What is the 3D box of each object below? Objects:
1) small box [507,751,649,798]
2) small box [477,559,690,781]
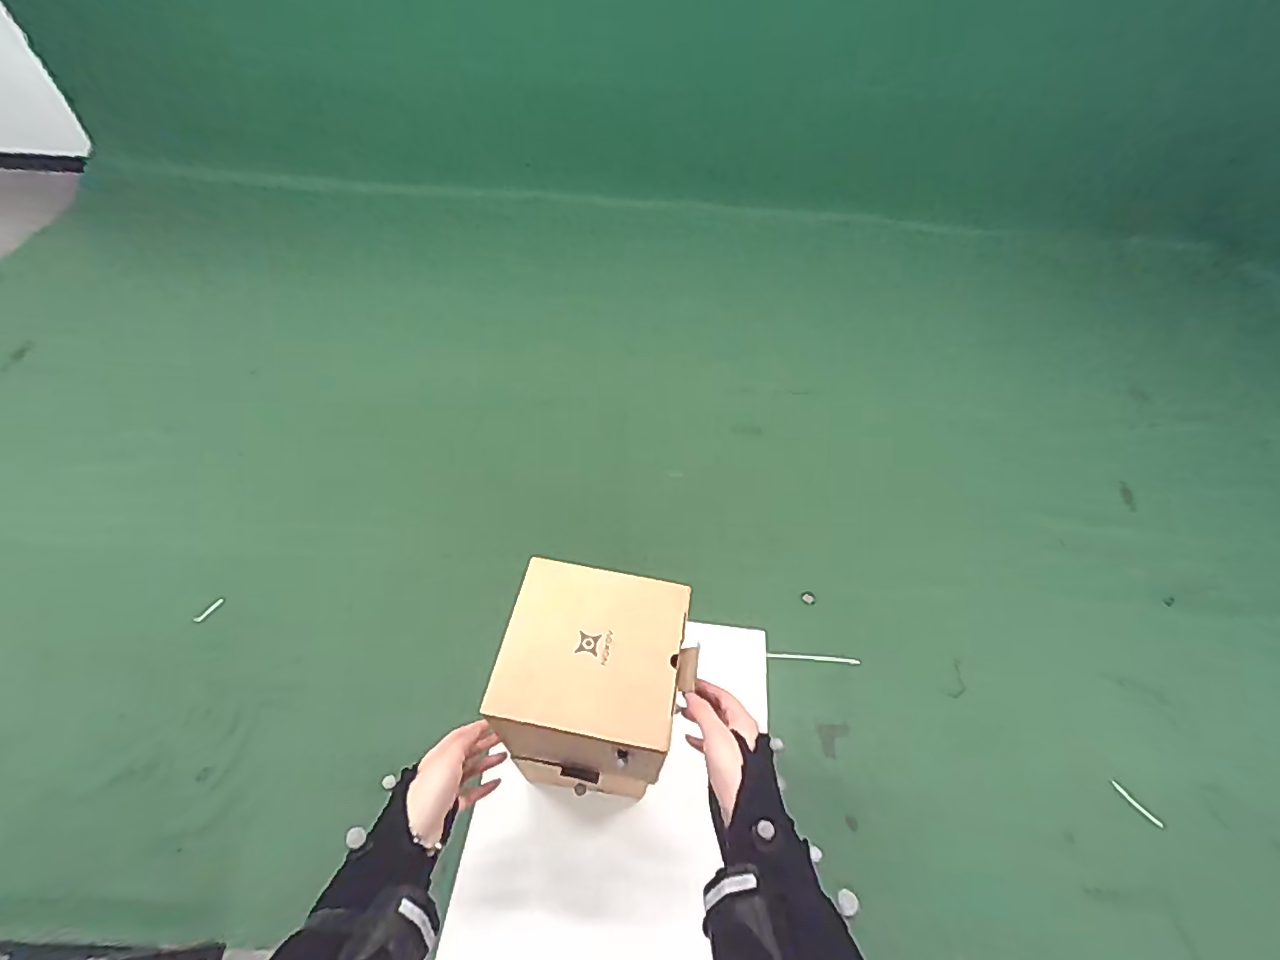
[{"bbox_3d":[-0.062,0.305,0.713,0.168,0.176,0.179,8,53,2],"label":"small box"},{"bbox_3d":[-0.050,0.208,0.582,0.179,0.176,0.168,10,52,3],"label":"small box"}]
